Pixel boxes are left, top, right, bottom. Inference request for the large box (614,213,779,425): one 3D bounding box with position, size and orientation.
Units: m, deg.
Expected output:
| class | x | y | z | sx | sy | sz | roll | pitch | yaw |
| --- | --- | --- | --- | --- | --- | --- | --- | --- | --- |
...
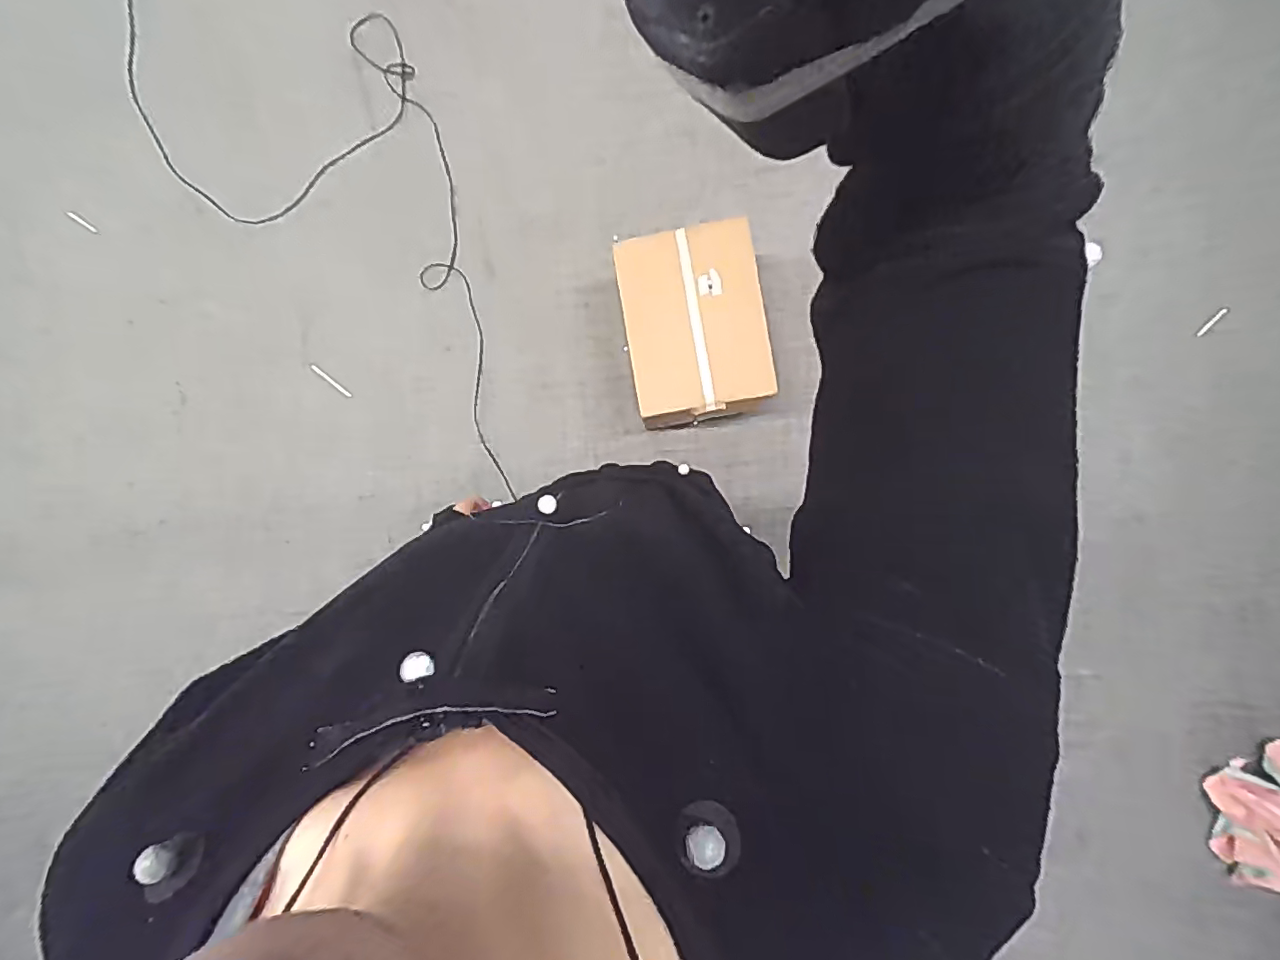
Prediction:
| class | x | y | z | sx | sy | sz | roll | pitch | yaw |
| --- | --- | --- | --- | --- | --- | --- | --- | --- | --- |
| large box | 0.135 | -0.373 | 1.357 | 0.320 | 0.320 | 0.408 | -10 | 89 | 3 |
